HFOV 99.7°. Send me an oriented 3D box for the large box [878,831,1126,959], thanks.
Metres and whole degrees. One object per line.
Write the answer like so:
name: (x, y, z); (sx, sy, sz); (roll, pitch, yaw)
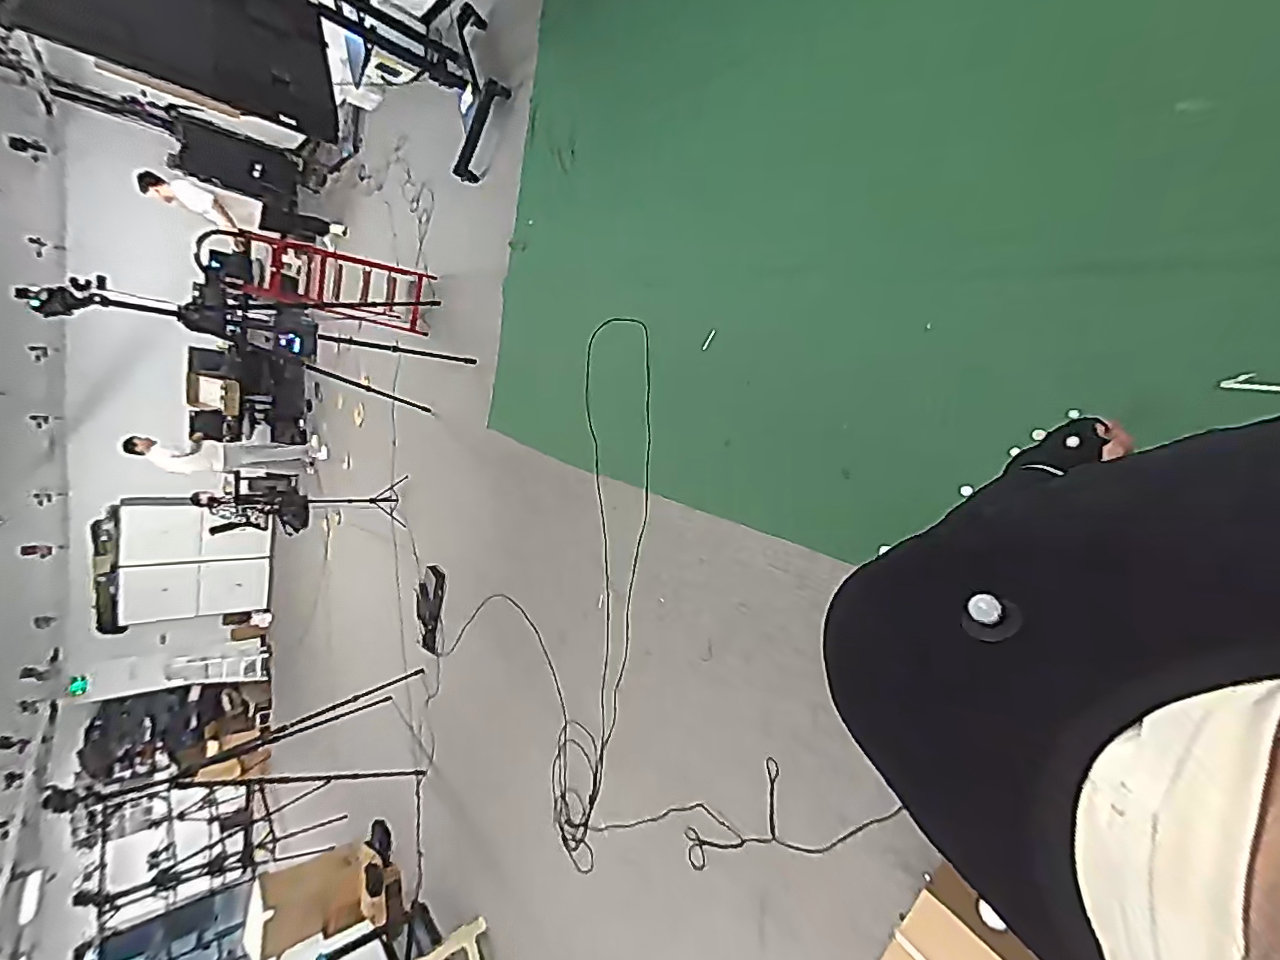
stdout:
large box: (0.866, 1.174, 1.300); (0.408, 0.320, 0.320); (32, 113, 42)
